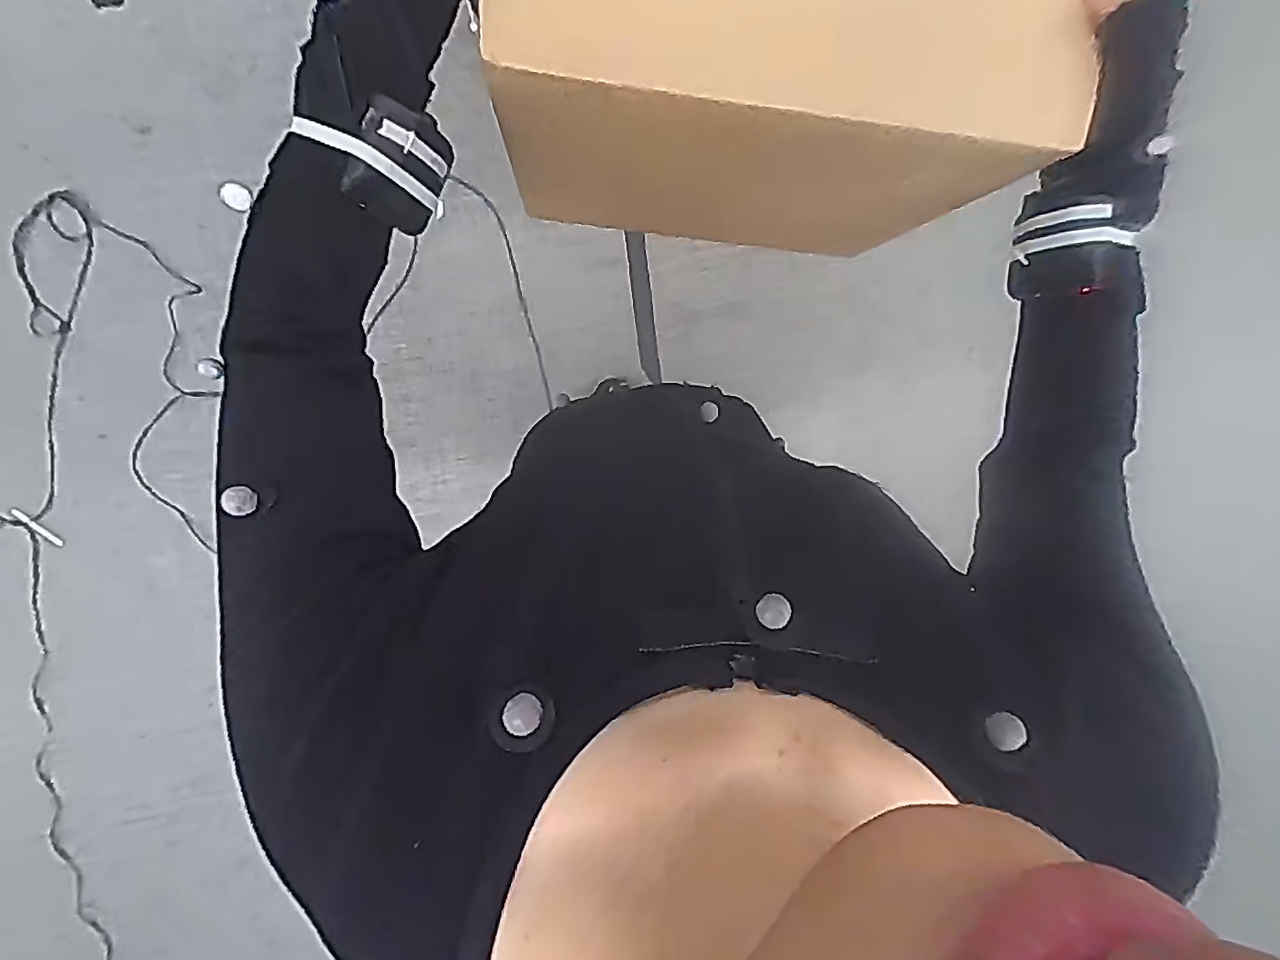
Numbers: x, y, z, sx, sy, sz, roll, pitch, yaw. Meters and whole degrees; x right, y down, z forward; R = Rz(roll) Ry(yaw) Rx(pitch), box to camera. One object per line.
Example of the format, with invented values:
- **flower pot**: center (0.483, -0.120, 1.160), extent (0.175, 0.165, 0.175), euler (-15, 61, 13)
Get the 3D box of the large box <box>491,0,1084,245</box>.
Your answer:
- **large box**: center (0.092, -0.424, 0.482), extent (0.408, 0.320, 0.320), euler (3, 100, -8)
